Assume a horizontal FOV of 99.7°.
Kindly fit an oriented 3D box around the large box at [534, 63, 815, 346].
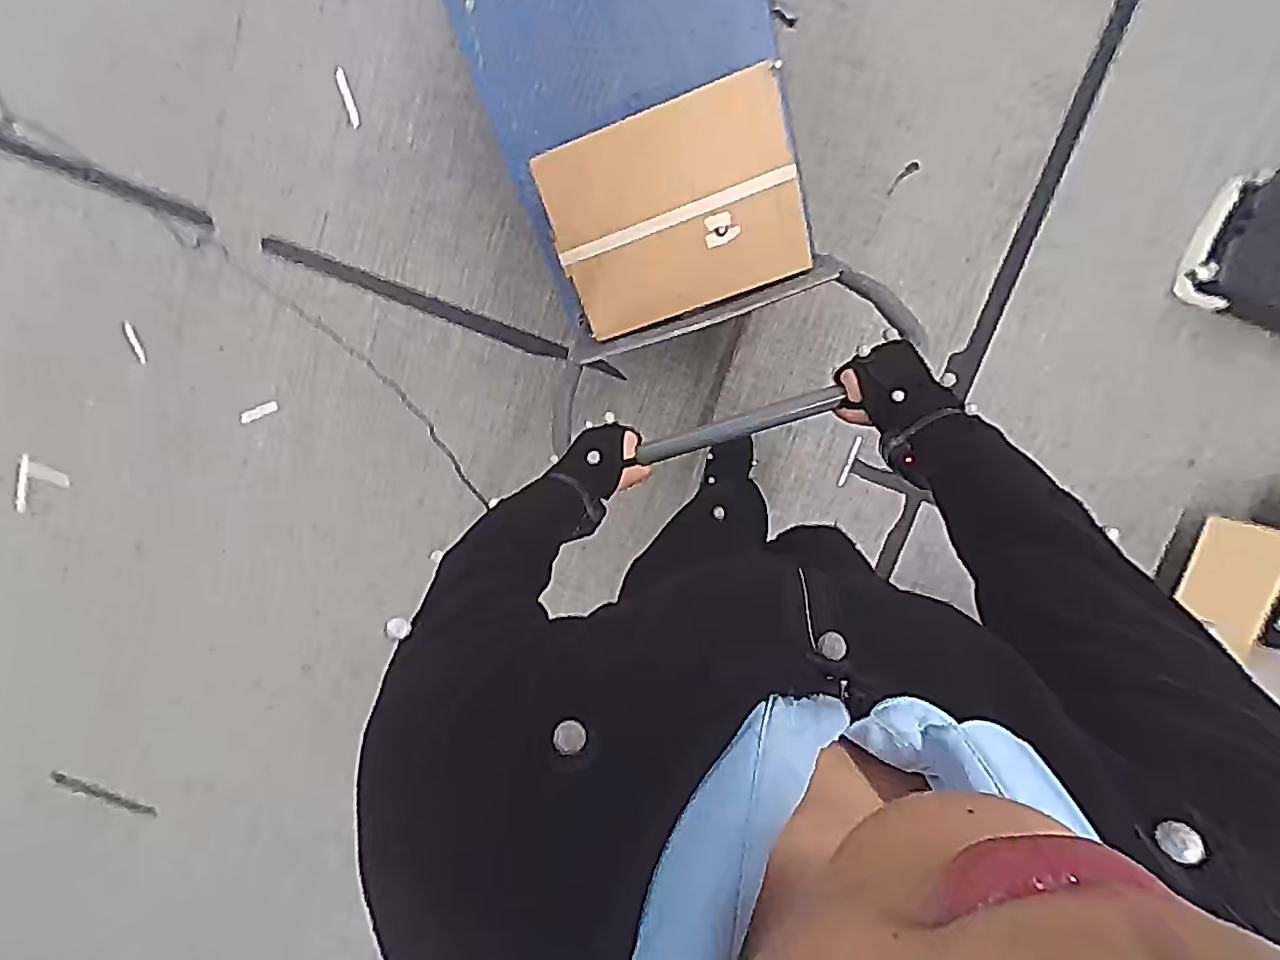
[{"bbox_3d":[0.065,-0.495,1.029,0.408,0.320,0.320,-17,115,9],"label":"large box"}]
